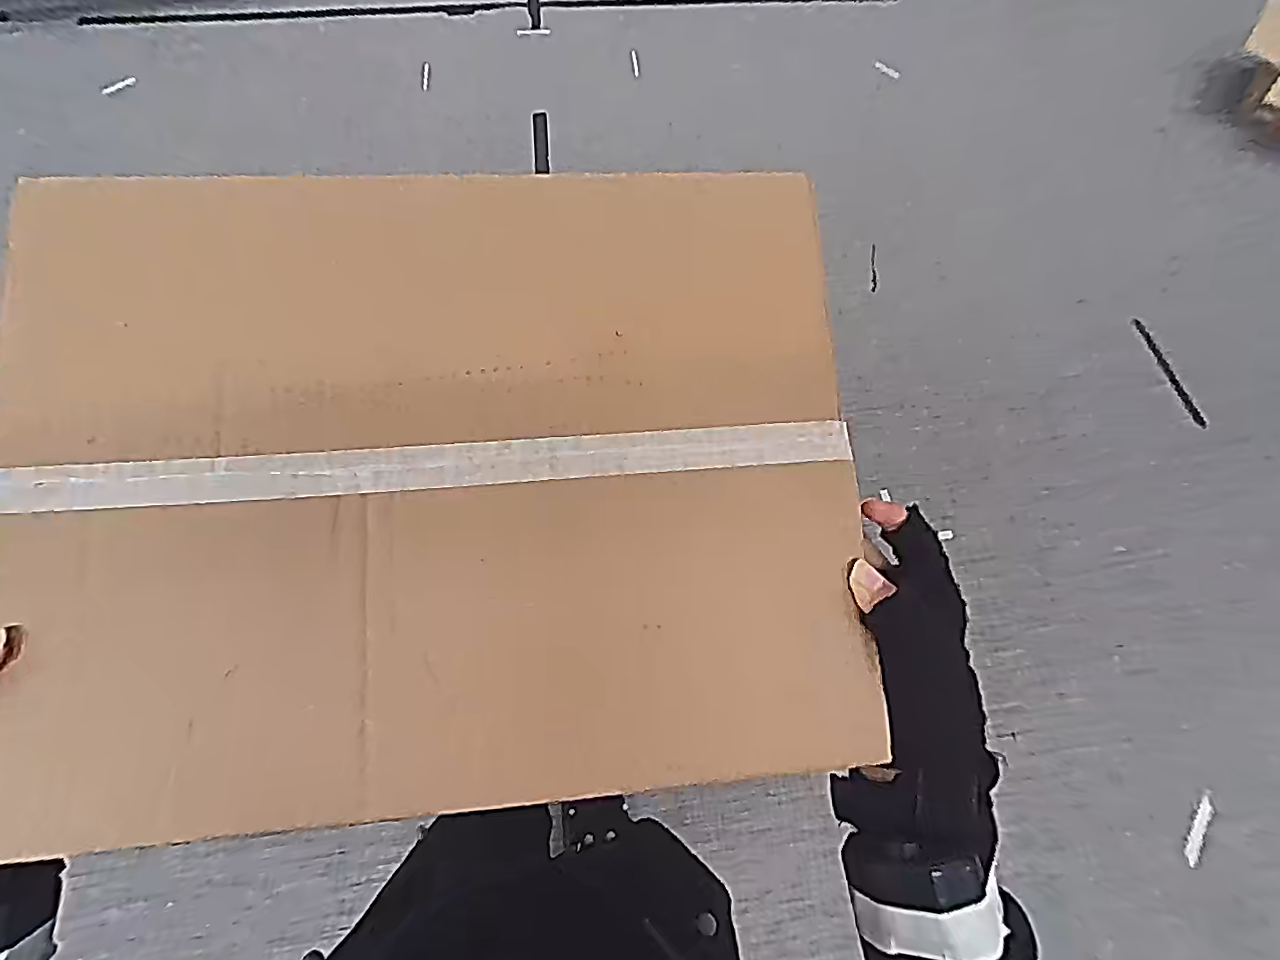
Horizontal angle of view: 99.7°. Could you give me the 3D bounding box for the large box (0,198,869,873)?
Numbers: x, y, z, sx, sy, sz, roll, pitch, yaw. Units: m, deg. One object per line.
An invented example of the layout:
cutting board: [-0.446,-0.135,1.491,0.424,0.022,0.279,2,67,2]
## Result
large box: [-0.105,0.025,0.417,0.408,0.320,0.320,-4,81,-5]
